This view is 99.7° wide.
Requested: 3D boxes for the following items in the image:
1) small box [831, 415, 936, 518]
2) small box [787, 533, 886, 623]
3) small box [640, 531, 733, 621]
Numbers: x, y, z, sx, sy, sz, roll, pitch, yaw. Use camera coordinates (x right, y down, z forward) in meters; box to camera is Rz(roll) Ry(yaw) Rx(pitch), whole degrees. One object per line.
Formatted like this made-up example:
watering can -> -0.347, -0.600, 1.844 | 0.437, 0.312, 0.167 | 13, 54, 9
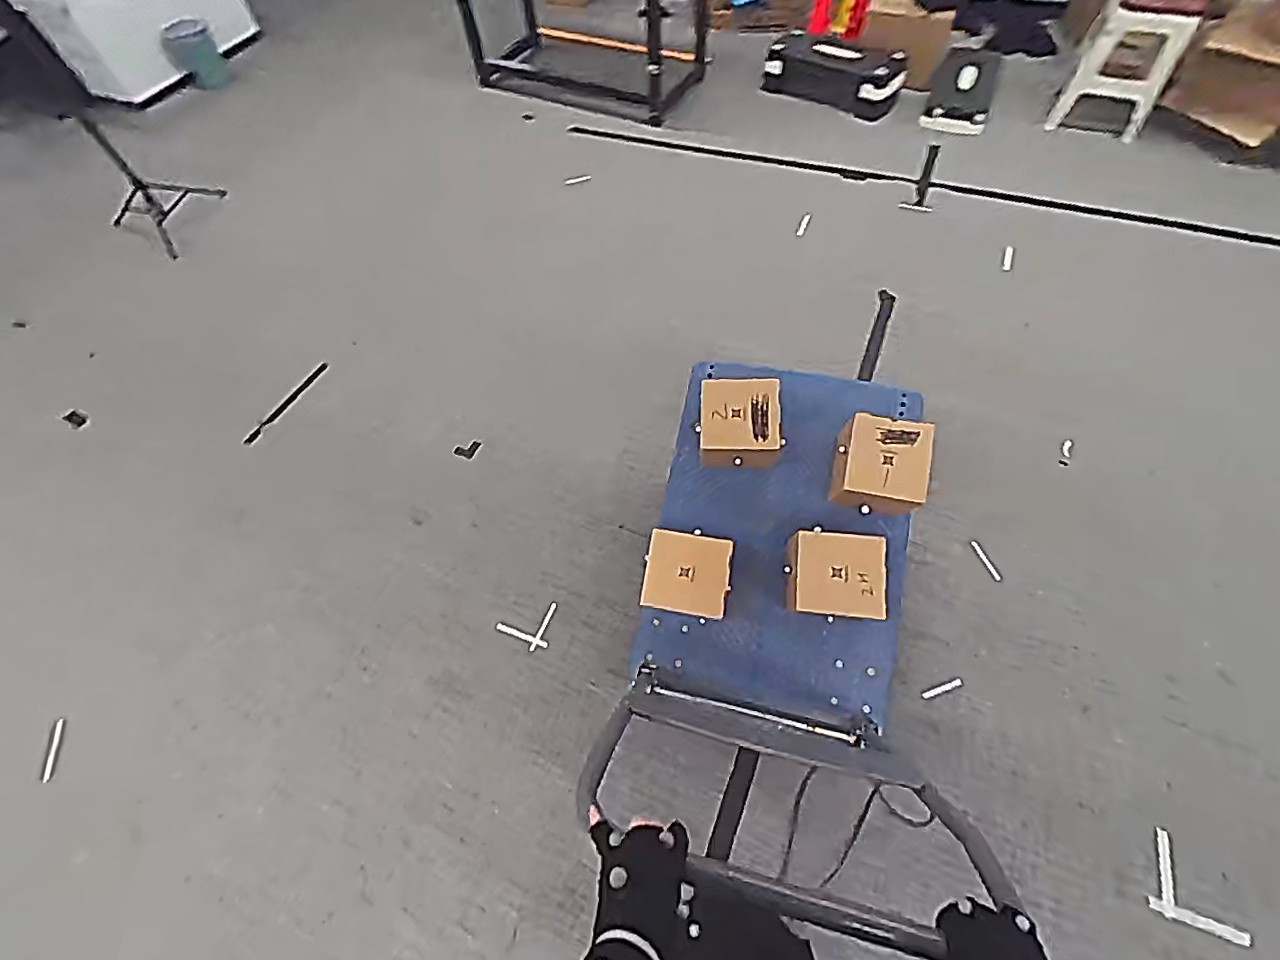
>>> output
small box -> 0.535, -0.025, 1.208 | 0.168, 0.176, 0.179 | 11, 80, 11
small box -> 0.417, 0.214, 1.168 | 0.179, 0.176, 0.168 | 4, 78, 9
small box -> 0.108, 0.219, 1.212 | 0.179, 0.176, 0.168 | 8, 78, 8
